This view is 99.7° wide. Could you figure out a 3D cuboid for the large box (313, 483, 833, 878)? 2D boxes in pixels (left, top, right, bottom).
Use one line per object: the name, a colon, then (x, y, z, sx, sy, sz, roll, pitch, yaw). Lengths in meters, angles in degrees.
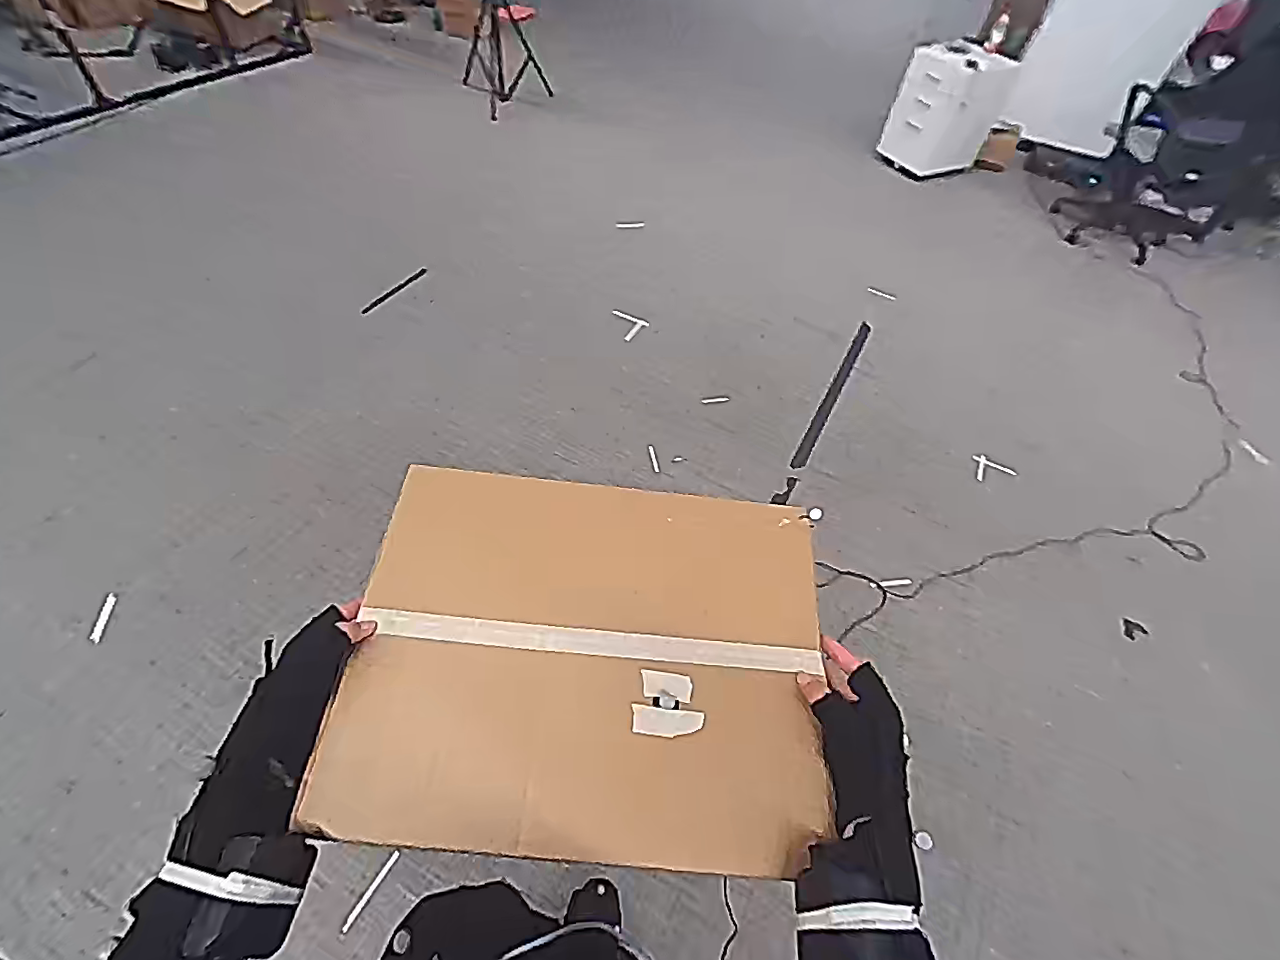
large box: (-0.051, 0.227, 0.609, 0.408, 0.320, 0.320, 7, 60, -2)
